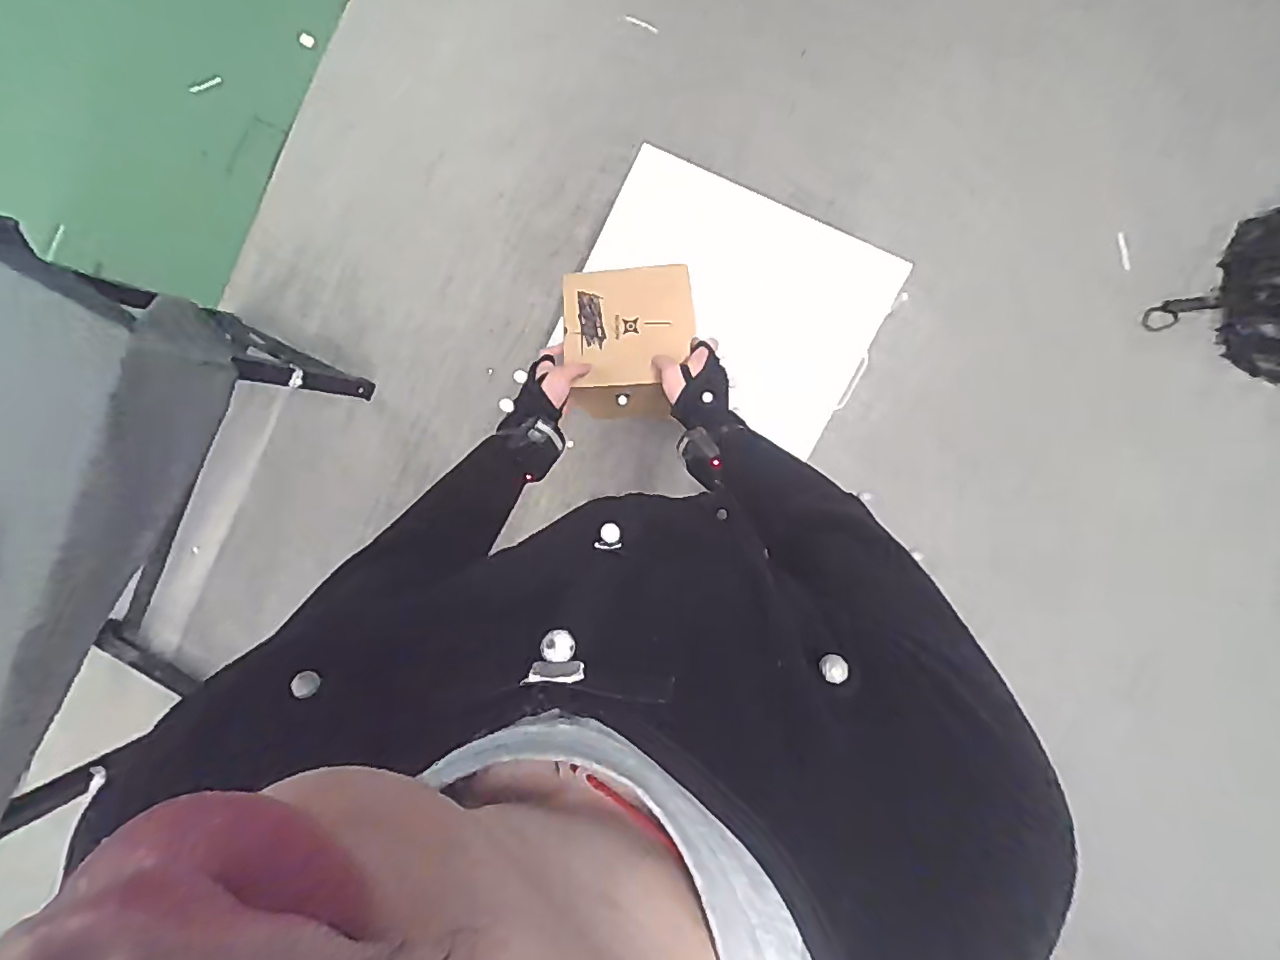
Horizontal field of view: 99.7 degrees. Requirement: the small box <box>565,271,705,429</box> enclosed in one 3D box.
[{"bbox_3d":[-0.001,-0.175,0.780,0.179,0.176,0.168,-4,81,7],"label":"small box"}]
